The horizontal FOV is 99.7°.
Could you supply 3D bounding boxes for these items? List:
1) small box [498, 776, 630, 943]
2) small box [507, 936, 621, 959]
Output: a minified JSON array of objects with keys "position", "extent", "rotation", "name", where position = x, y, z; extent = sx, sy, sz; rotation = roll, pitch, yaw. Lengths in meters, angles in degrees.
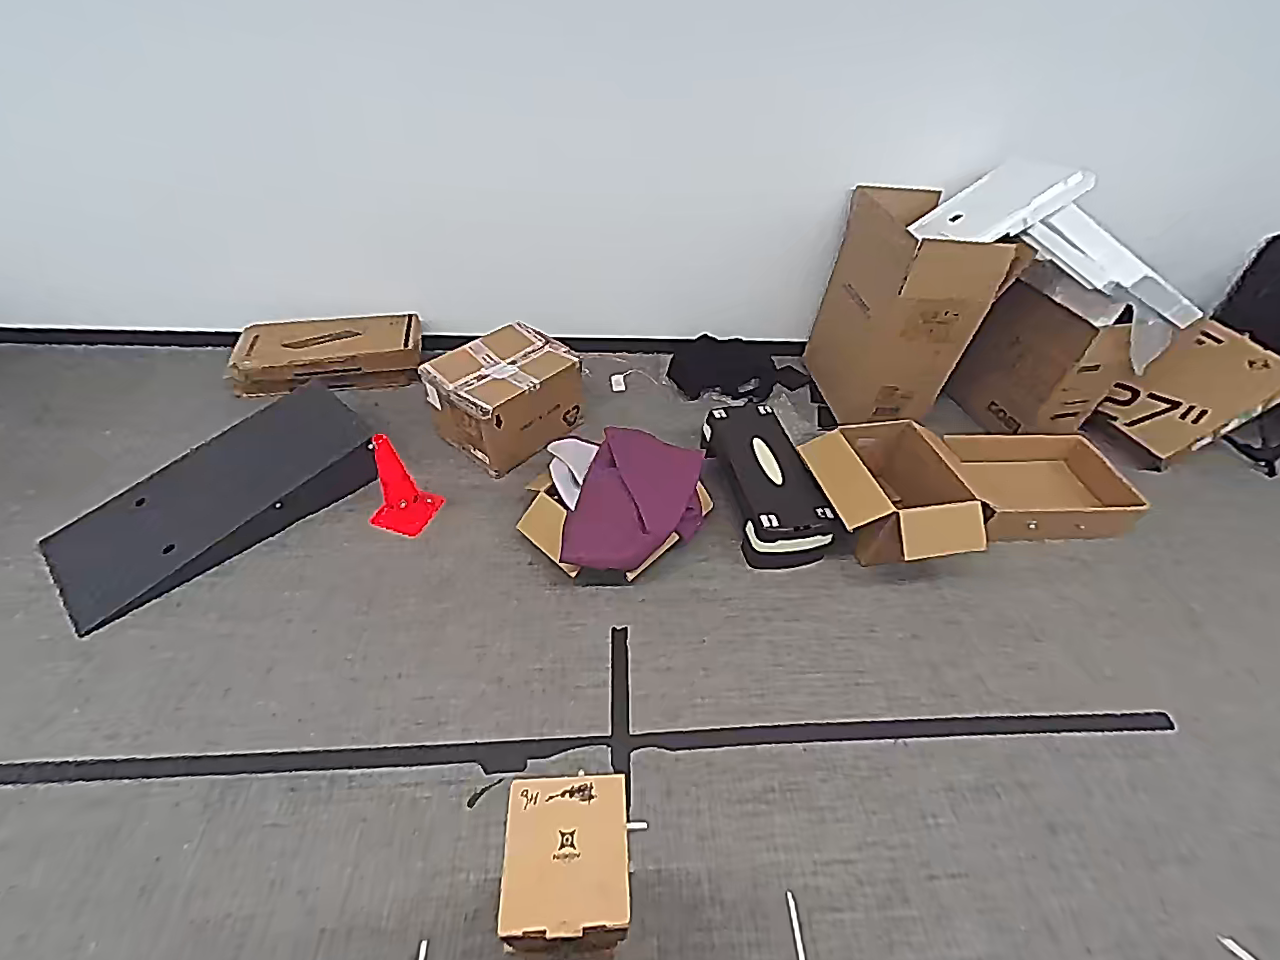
[{"position":[-0.099,0.546,0.777],"extent":[0.168,0.176,0.179],"rotation":[-1,46,-4],"name":"small box"},{"position":[-0.113,0.667,0.887],"extent":[0.168,0.176,0.179],"rotation":[2,47,-1],"name":"small box"}]
